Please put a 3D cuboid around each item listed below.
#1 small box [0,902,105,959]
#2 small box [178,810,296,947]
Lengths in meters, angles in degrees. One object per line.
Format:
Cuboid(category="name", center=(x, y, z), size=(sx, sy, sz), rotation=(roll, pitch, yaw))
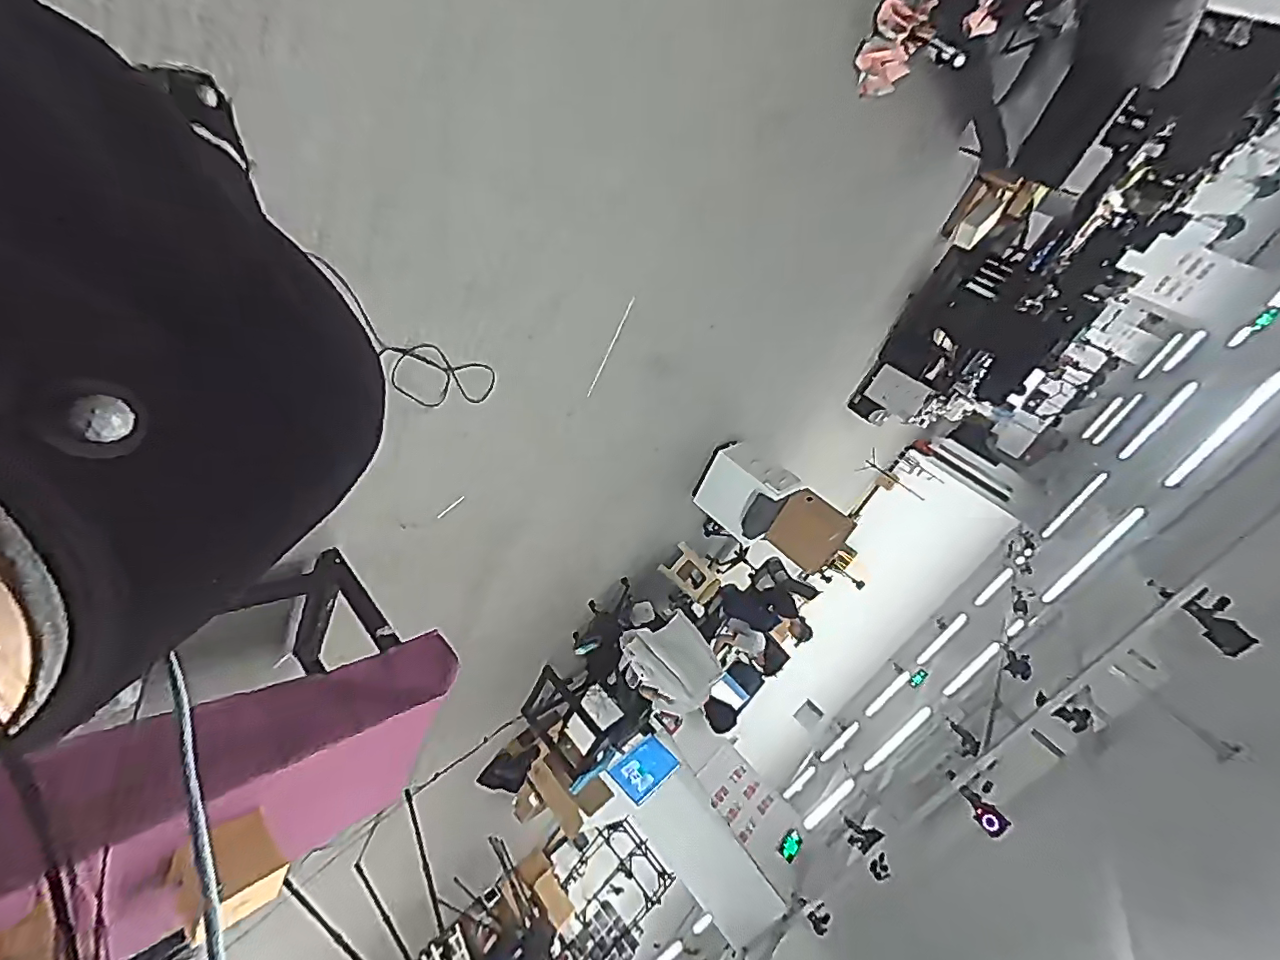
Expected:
Cuboid(category="small box", center=(-1.156, 0.969, 1.033), size=(0.179, 0.176, 0.168), rotation=(-12, 136, -52))
Cuboid(category="small box", center=(-0.969, 0.944, 1.300), size=(0.179, 0.176, 0.168), rotation=(-6, 132, -53))
